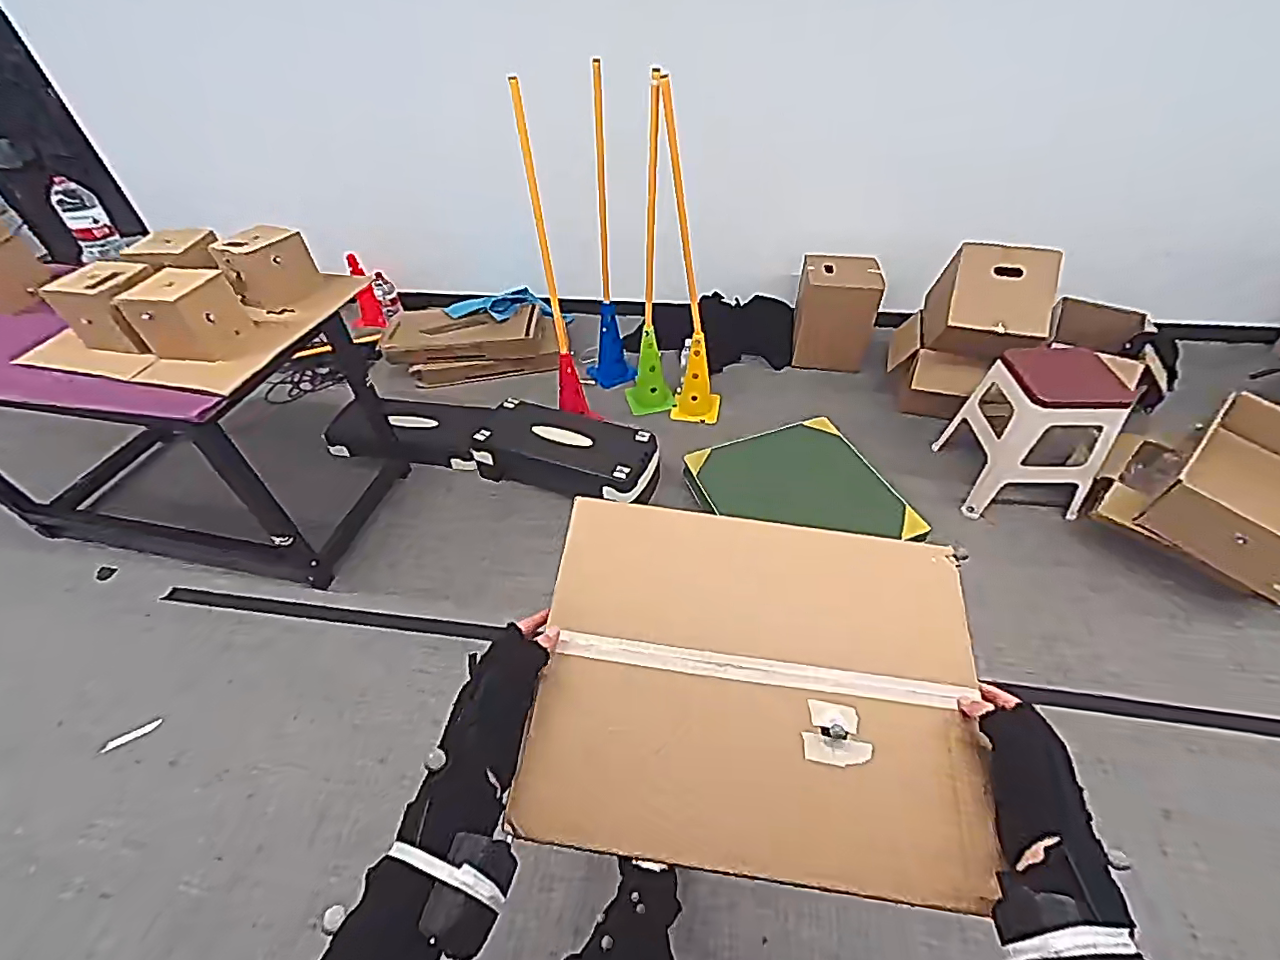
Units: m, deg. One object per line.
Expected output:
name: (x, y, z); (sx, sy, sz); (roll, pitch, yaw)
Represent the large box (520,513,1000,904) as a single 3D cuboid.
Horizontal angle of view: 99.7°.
large box: (0.107, 0.265, 0.644); (0.408, 0.320, 0.320); (8, 59, 3)
